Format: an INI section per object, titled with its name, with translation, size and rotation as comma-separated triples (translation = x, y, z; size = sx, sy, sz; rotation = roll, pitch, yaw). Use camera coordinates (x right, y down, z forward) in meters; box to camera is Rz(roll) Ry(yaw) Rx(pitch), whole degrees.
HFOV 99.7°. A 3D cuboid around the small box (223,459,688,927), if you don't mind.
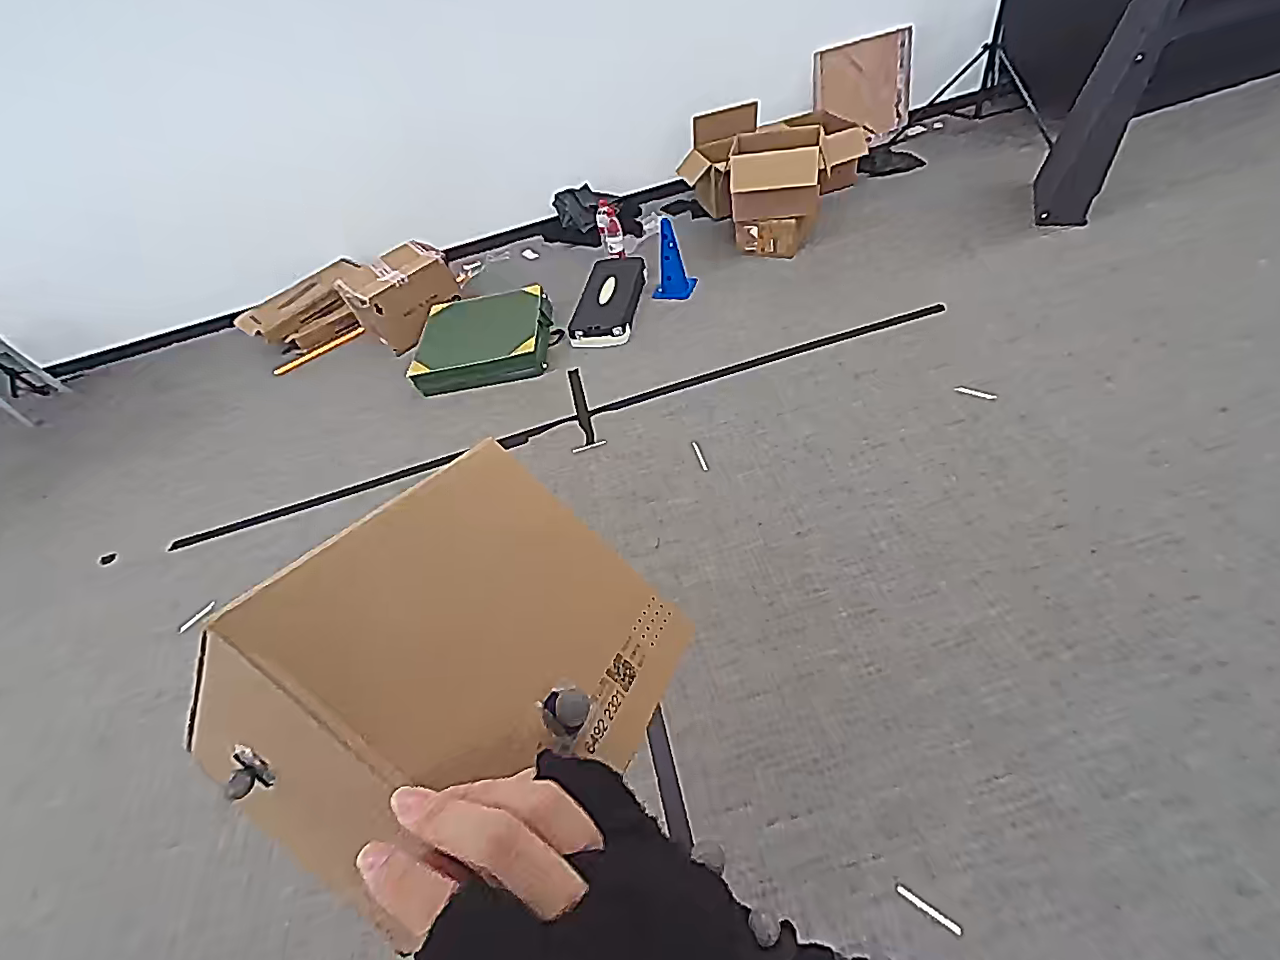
[small box]
translation = -0.103, 0.126, 0.326
size = 0.176, 0.179, 0.168
rotation = 43, 37, -1
